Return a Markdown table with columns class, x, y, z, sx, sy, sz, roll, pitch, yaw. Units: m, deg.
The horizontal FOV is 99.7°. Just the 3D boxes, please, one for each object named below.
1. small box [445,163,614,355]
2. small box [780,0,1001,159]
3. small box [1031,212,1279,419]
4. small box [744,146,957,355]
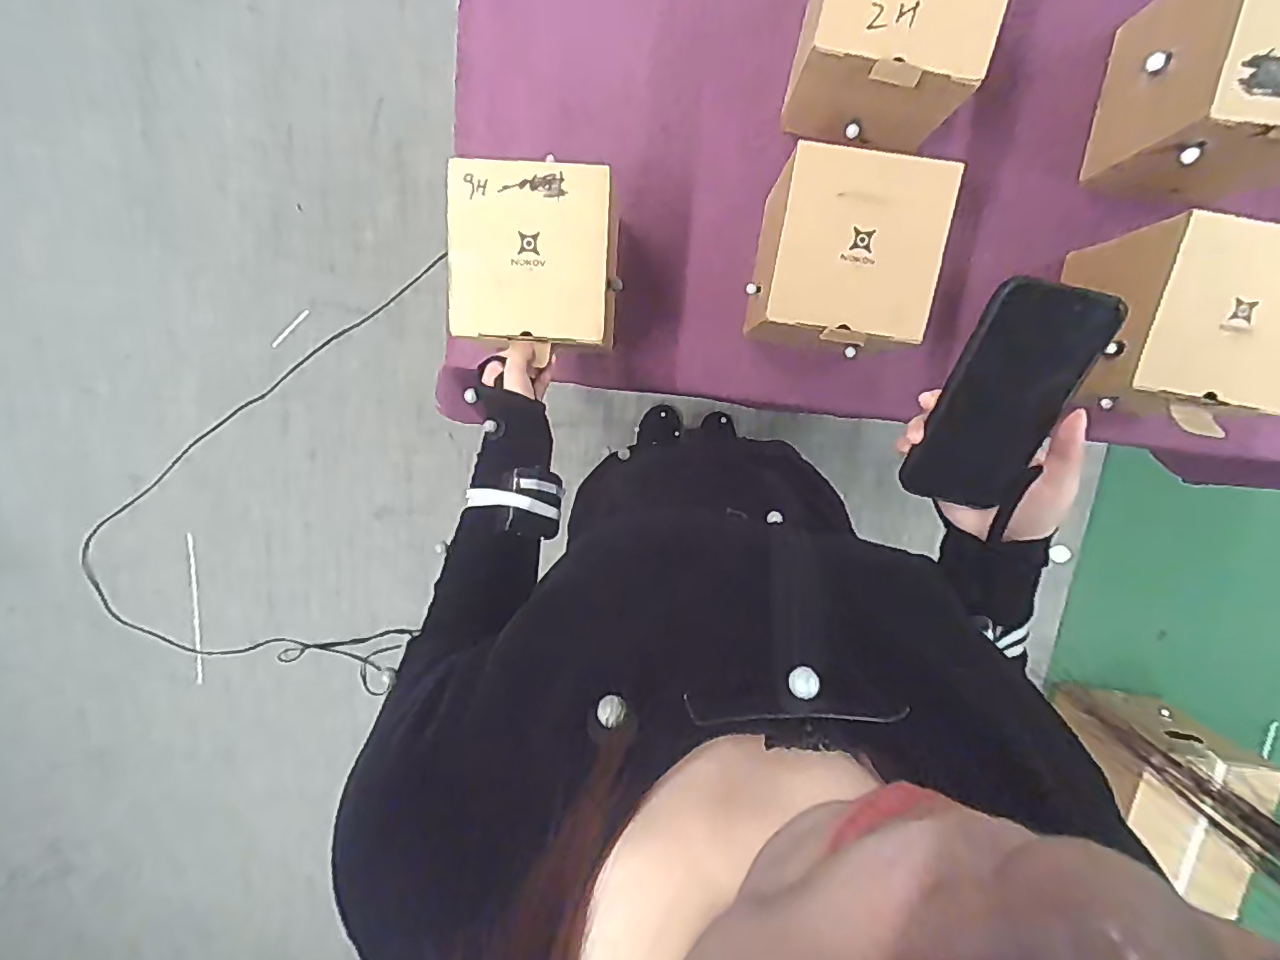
| class | x | y | z | sx | sy | sz | roll | pitch | yaw |
| --- | --- | --- | --- | --- | --- | --- | --- | --- | --- |
| small box | -0.118 | -0.242 | 0.635 | 0.168 | 0.176 | 0.179 | 3 | 100 | -1 |
| small box | 0.261 | -0.485 | 0.578 | 0.168 | 0.176 | 0.179 | 13 | 100 | 1 |
| small box | 0.594 | -0.174 | 0.613 | 0.168 | 0.176 | 0.179 | 11 | 100 | 1 |
| small box | 0.221 | -0.244 | 0.623 | 0.168 | 0.176 | 0.179 | 9 | 99 | 1 |
